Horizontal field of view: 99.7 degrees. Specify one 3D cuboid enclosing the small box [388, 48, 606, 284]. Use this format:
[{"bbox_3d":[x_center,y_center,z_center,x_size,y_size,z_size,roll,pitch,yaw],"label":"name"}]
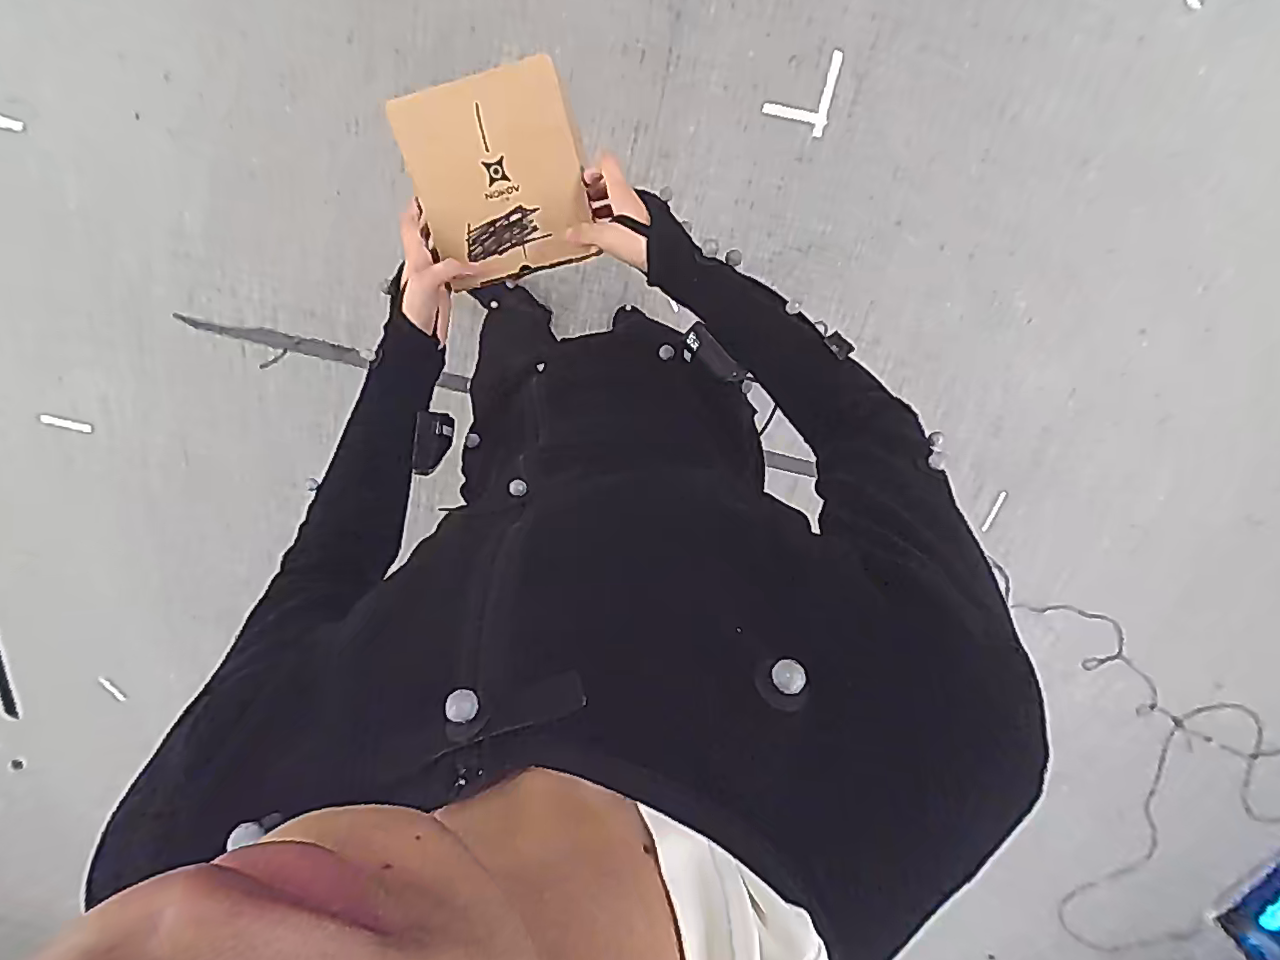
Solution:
[{"bbox_3d":[-0.137,-0.331,0.600,0.168,0.176,0.179,-11,113,5],"label":"small box"}]
